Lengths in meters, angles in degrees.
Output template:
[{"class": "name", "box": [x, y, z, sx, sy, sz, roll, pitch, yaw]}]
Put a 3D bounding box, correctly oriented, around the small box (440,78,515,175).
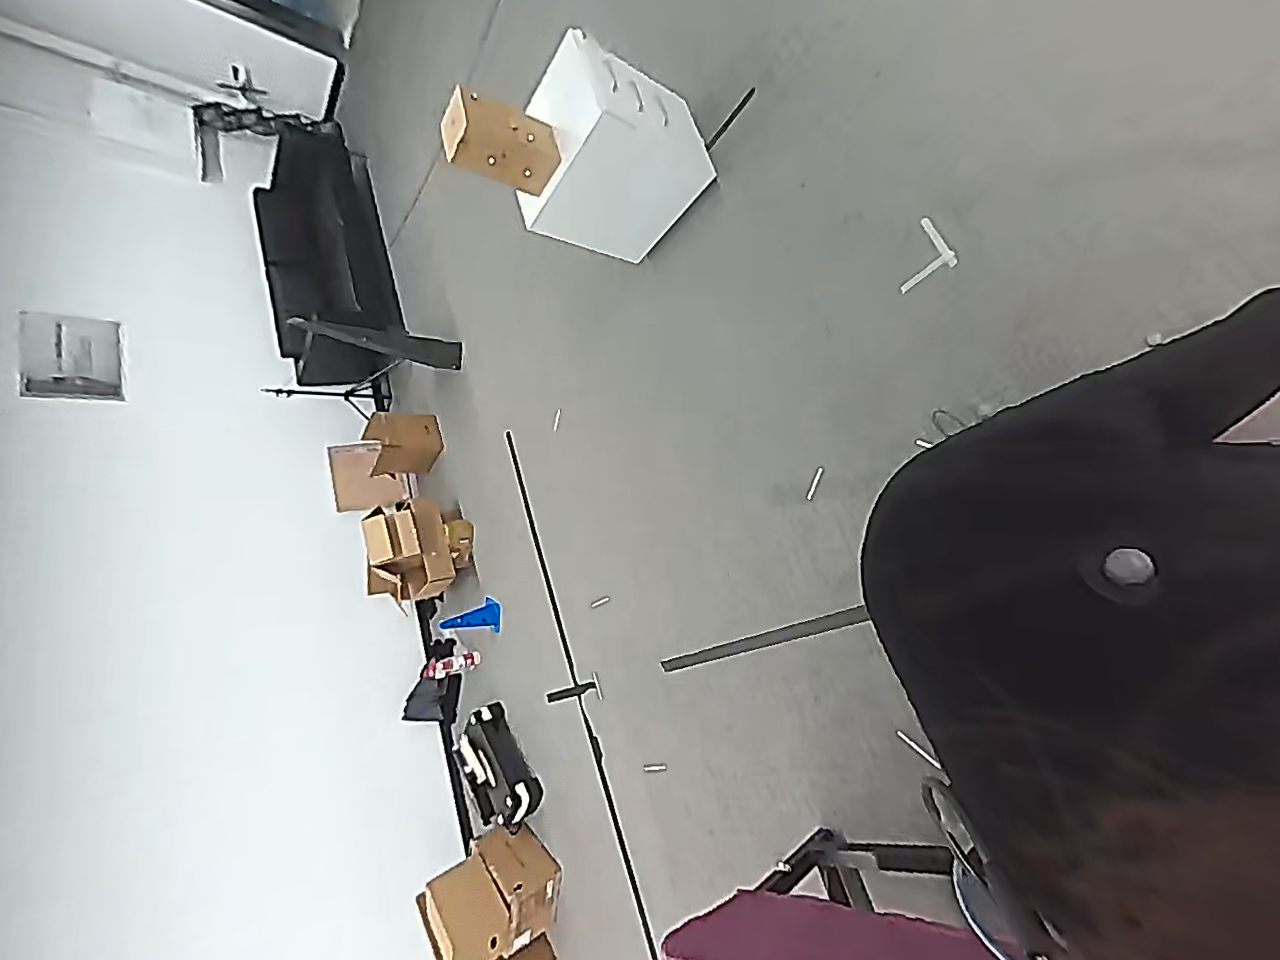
[{"class": "small box", "box": [-0.526, -1.136, 1.754, 0.168, 0.176, 0.179, -31, 69, 46]}]
